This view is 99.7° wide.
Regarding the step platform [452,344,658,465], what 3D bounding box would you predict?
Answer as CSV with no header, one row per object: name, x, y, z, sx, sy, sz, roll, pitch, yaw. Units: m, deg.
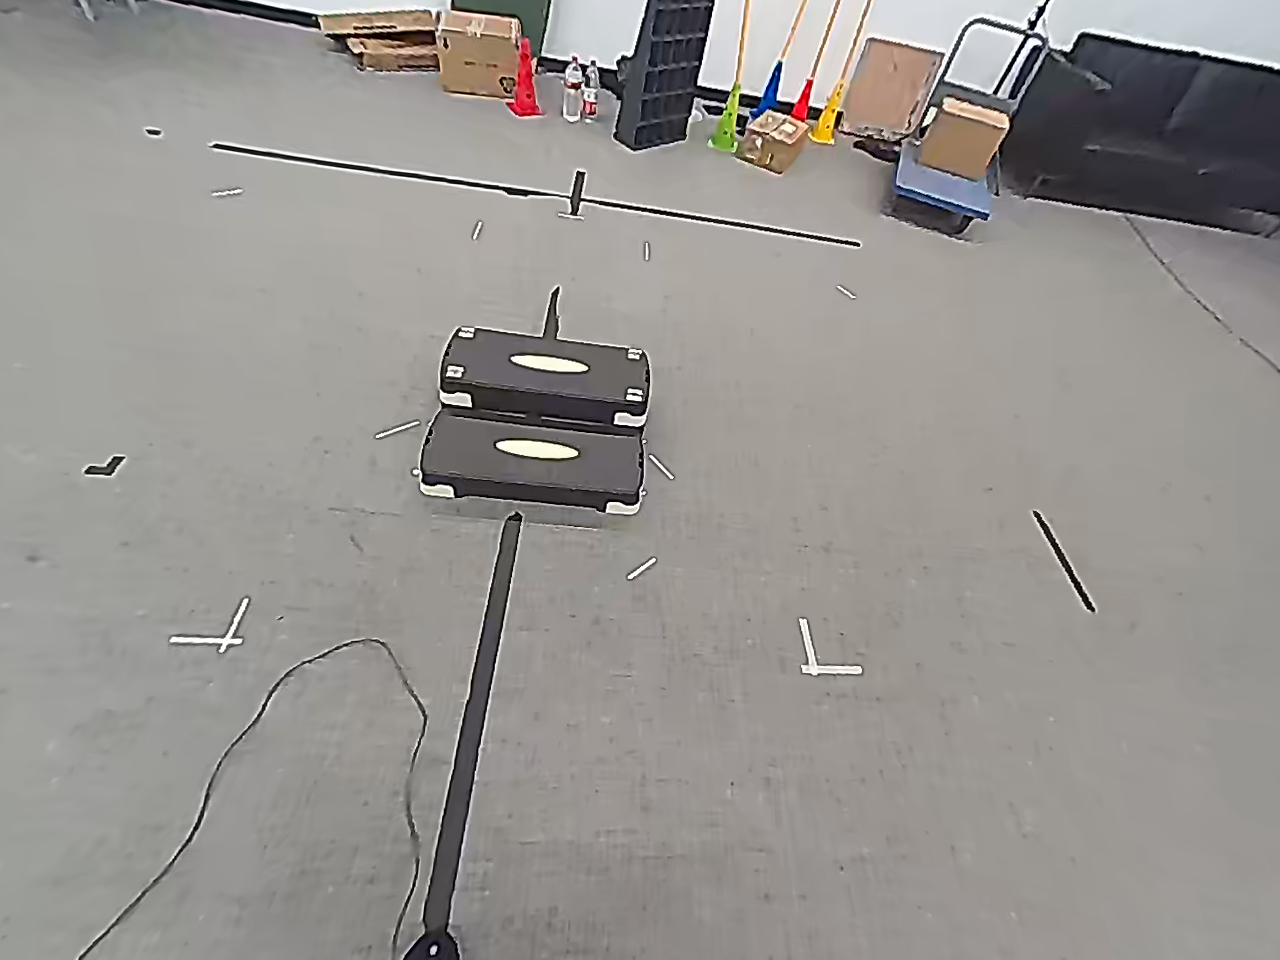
step platform,-0.279,-0.261,1.848,0.684,0.204,0.286,10,50,-4
